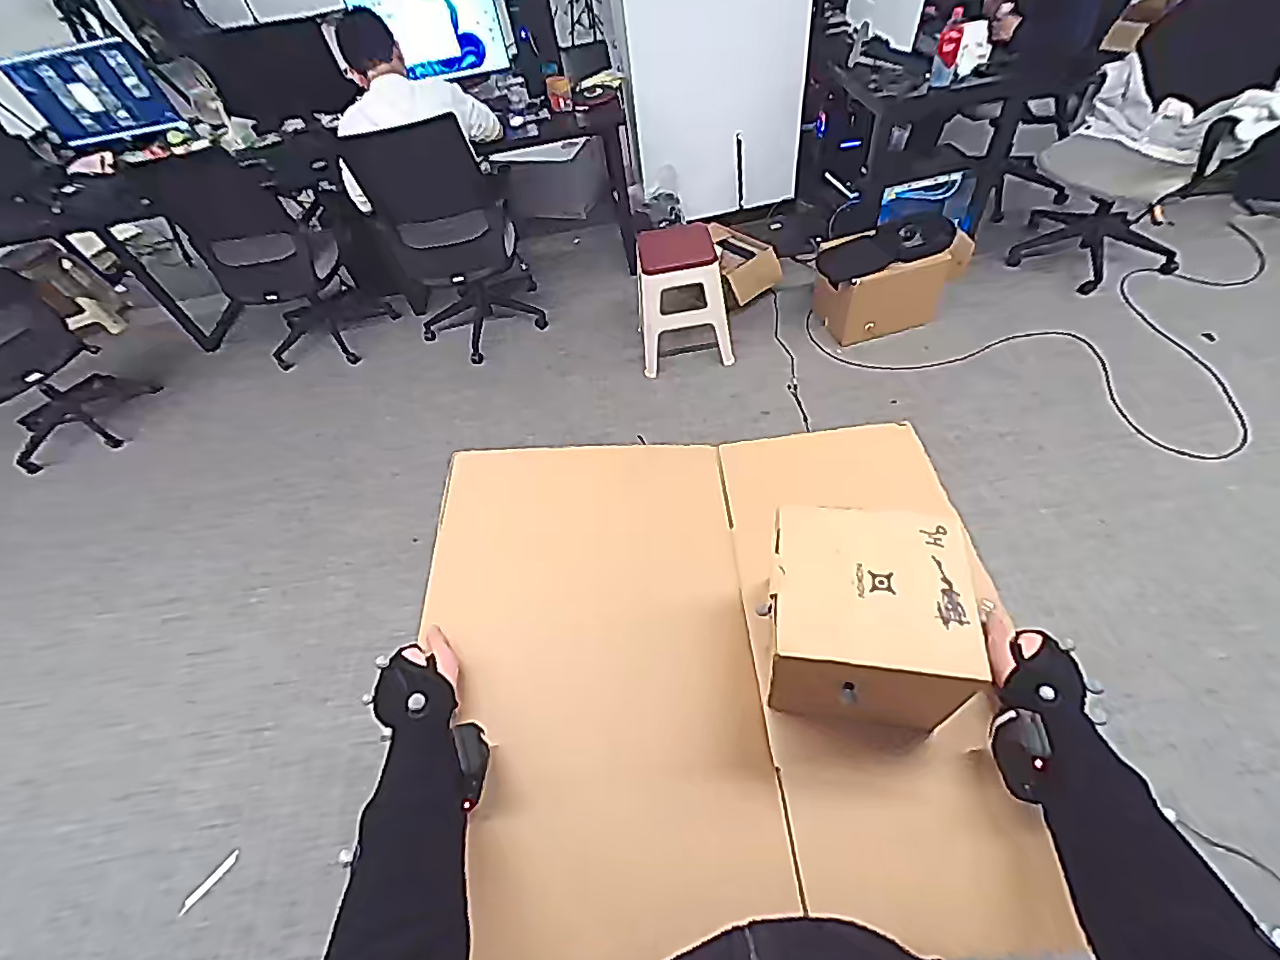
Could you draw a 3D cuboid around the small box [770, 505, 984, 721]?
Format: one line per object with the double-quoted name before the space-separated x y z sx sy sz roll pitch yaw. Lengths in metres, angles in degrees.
"small box" 0.232 0.144 0.578 0.179 0.176 0.168 3 54 14
